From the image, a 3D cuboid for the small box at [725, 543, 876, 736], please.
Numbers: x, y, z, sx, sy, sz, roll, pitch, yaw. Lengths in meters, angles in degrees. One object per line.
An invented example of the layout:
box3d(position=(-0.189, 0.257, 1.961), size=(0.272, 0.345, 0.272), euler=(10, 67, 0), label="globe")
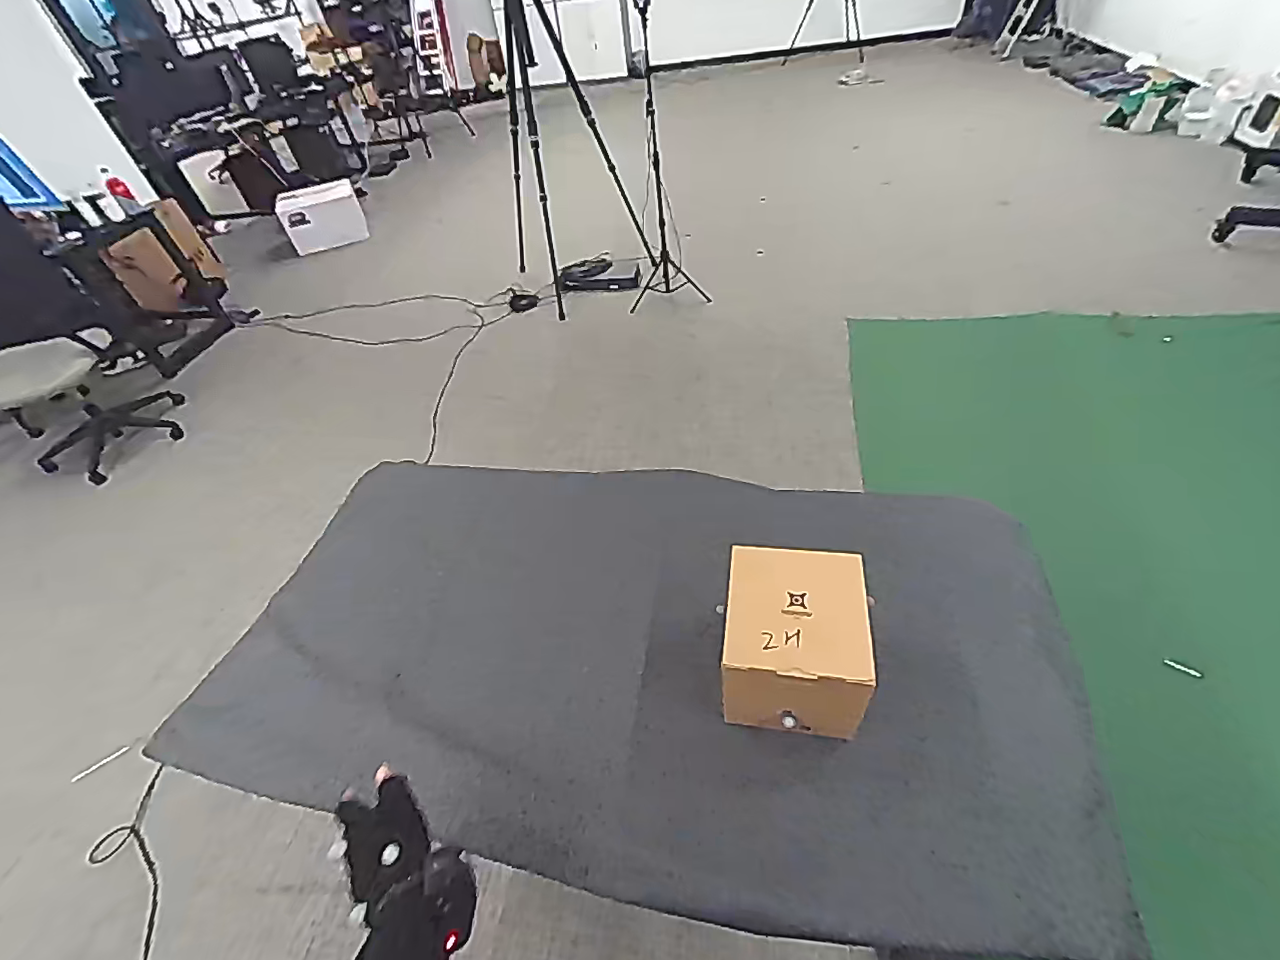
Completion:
box3d(position=(0.202, 0.208, 0.712), size=(0.168, 0.176, 0.179), euler=(3, 46, 13), label="small box")
